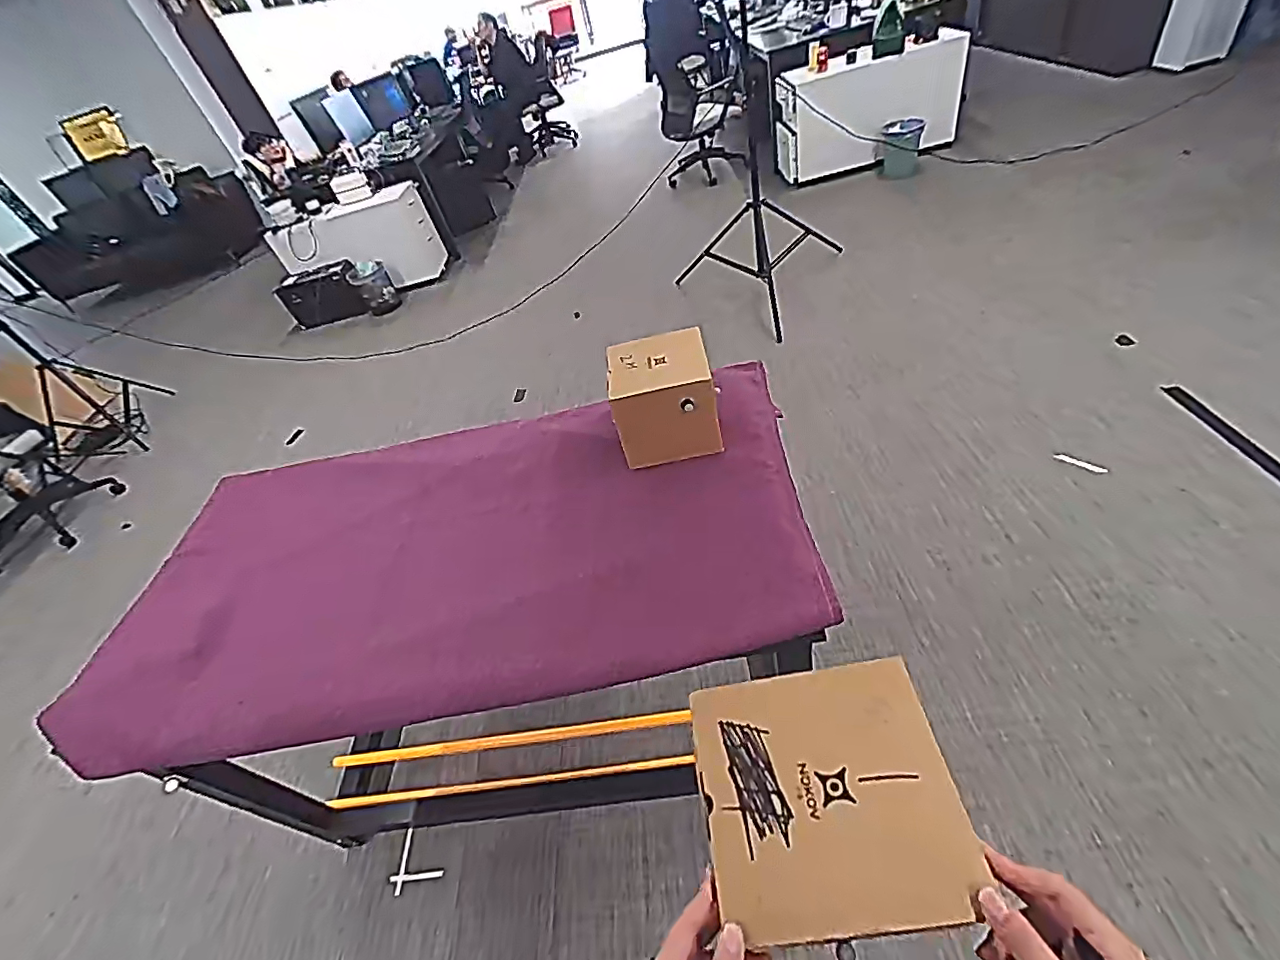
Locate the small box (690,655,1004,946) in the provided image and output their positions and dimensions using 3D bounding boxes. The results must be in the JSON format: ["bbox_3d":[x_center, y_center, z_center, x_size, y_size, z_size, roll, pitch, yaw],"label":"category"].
[{"bbox_3d":[0.151,0.268,0.444,0.179,0.176,0.168,-13,48,7],"label":"small box"}]

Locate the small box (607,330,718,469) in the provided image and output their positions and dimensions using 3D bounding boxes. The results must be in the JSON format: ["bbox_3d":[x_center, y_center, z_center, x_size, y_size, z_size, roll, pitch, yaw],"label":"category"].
[{"bbox_3d":[0.044,-0.143,0.987,0.179,0.176,0.168,-11,44,7],"label":"small box"}]
